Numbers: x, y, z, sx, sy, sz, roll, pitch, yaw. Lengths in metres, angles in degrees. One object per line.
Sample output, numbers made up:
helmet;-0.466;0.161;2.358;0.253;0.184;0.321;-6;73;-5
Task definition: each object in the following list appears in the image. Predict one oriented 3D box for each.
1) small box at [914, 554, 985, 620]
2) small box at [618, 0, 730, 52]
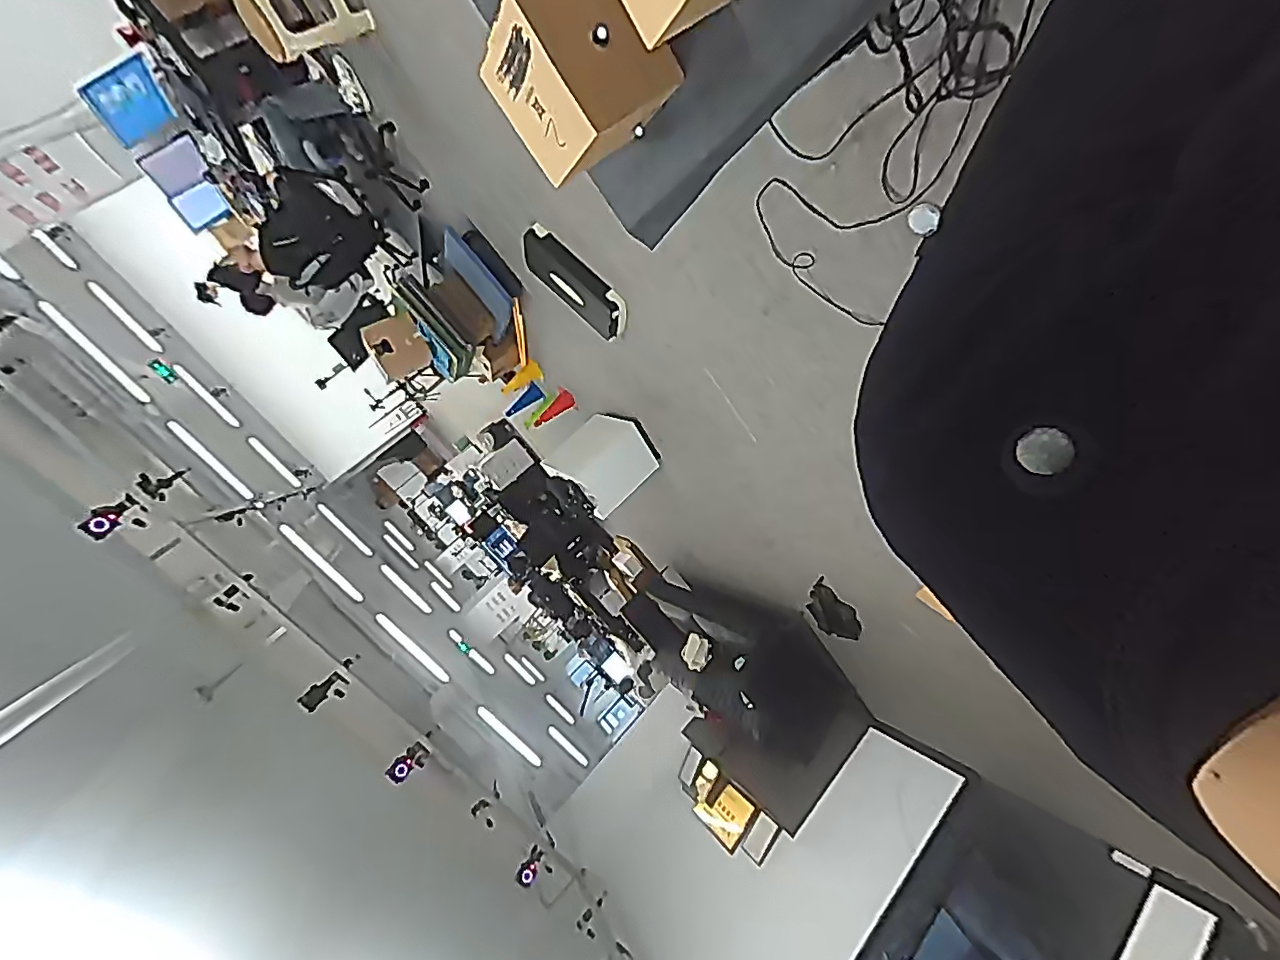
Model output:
small box;1.270;0.437;2.214;0.168;0.176;0.179;37;160;23
small box;0.054;-0.530;0.455;0.179;0.176;0.168;54;162;-19
